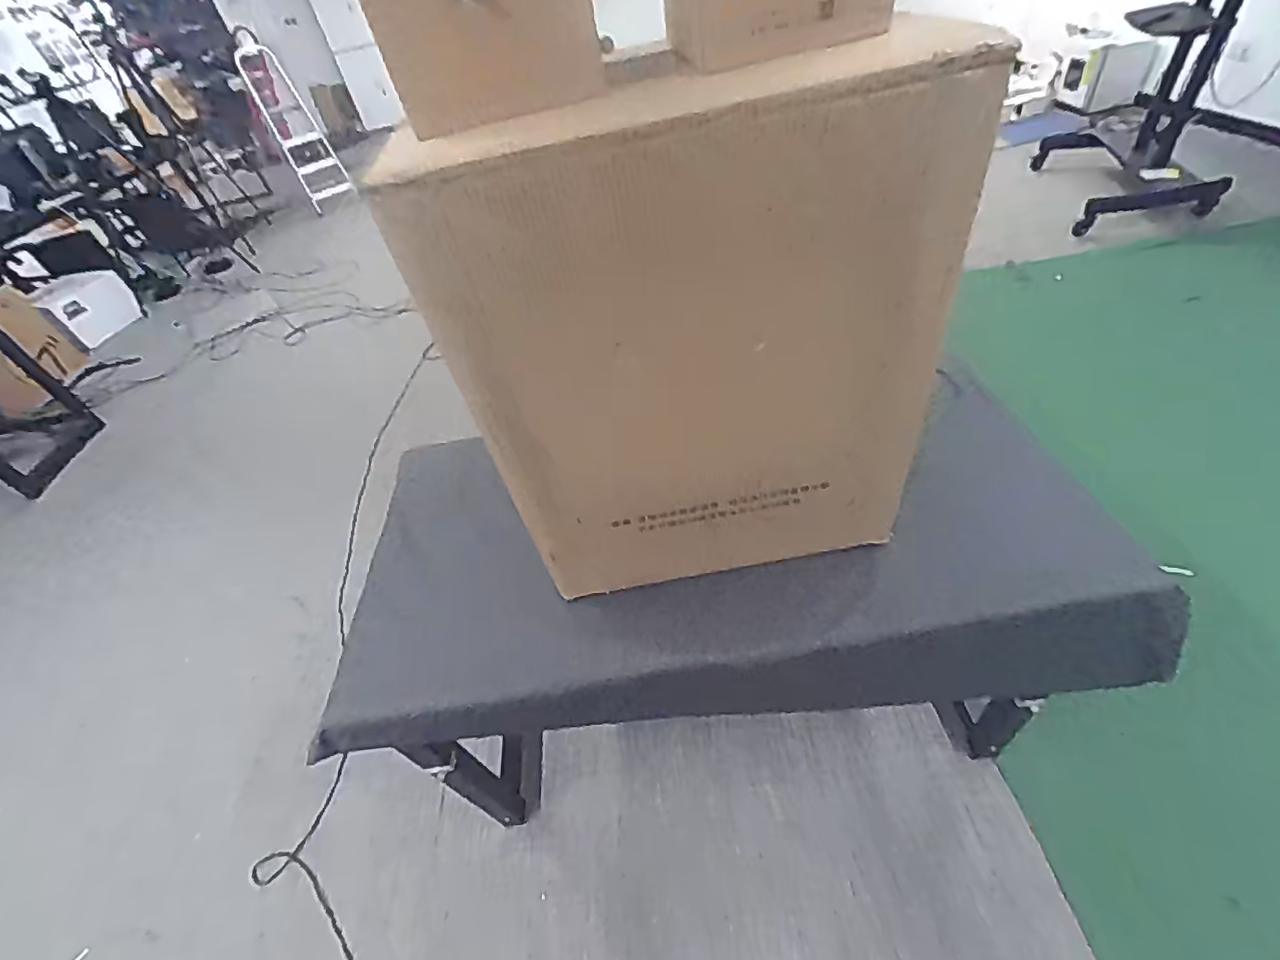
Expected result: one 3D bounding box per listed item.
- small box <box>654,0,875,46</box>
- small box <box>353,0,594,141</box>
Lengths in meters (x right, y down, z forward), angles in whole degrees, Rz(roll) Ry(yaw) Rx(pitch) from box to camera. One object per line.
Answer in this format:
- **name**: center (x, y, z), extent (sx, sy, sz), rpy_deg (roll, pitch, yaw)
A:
- **small box**: center (0.098, -0.492, 0.450), extent (0.168, 0.176, 0.179), rpy_deg (-16, 49, -2)
- **small box**: center (-0.143, -0.429, 0.470), extent (0.179, 0.176, 0.168), rpy_deg (-14, 48, 2)
